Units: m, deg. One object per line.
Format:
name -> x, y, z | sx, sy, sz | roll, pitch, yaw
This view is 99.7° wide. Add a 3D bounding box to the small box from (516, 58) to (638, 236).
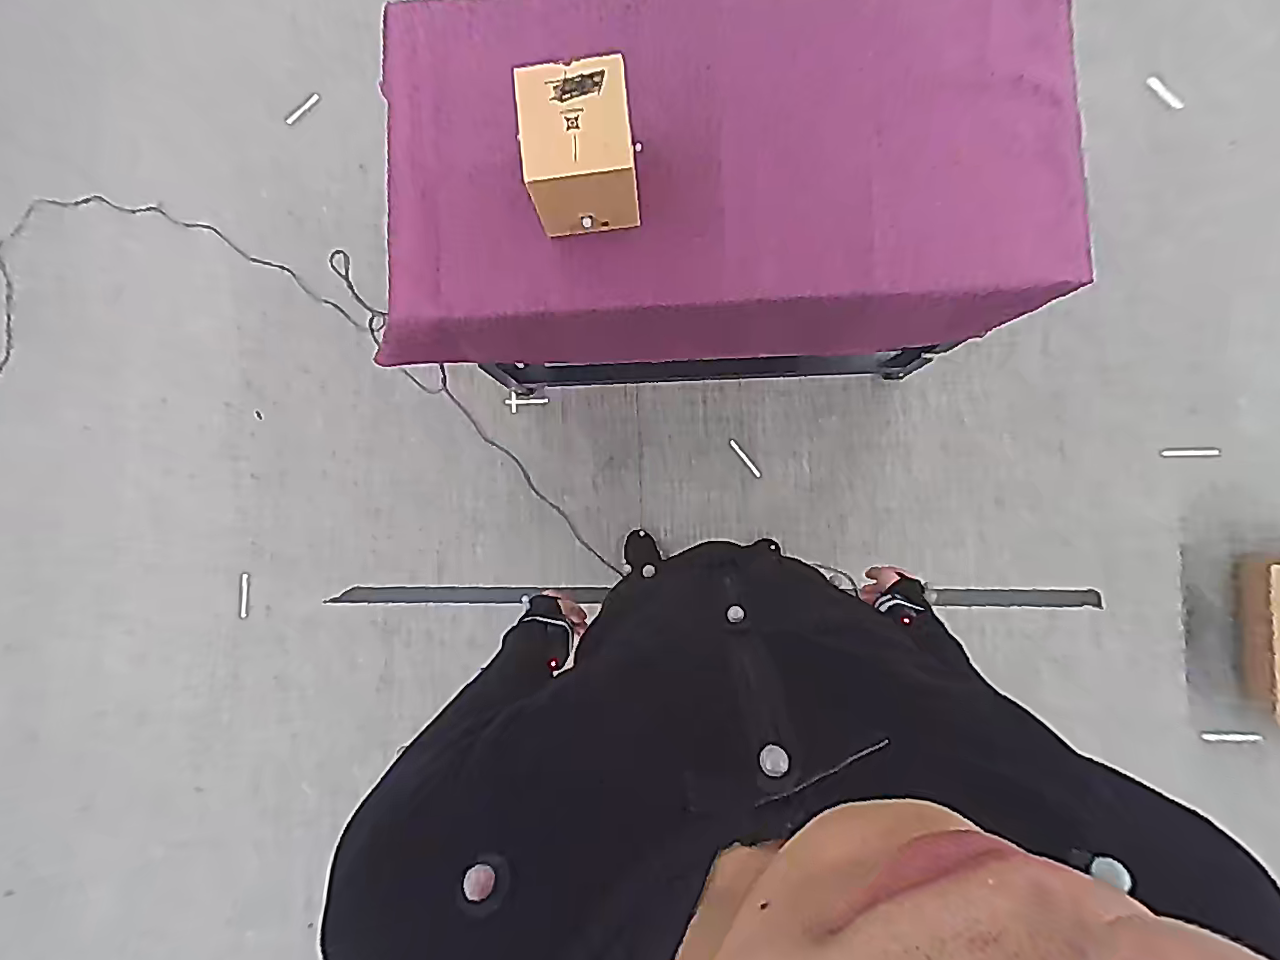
small box -> -0.095, -0.529, 0.880 | 0.168, 0.176, 0.179 | -6, 87, 3
